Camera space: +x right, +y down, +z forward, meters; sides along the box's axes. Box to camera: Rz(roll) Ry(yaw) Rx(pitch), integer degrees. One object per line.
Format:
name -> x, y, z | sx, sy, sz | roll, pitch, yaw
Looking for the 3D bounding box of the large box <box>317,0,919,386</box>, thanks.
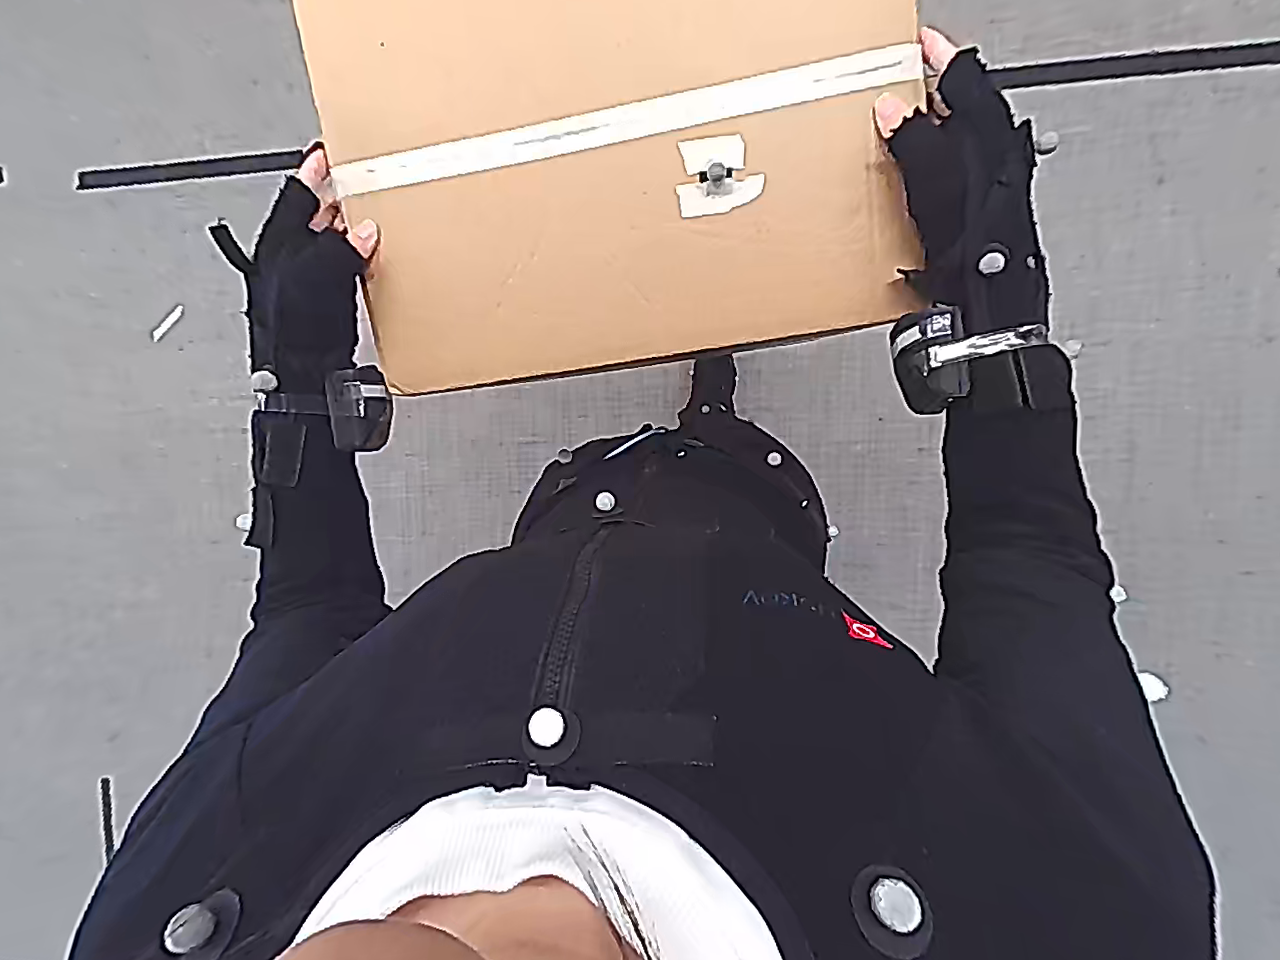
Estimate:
large box -> -0.006, -0.281, 0.530 | 0.408, 0.320, 0.320 | -8, 102, 6
